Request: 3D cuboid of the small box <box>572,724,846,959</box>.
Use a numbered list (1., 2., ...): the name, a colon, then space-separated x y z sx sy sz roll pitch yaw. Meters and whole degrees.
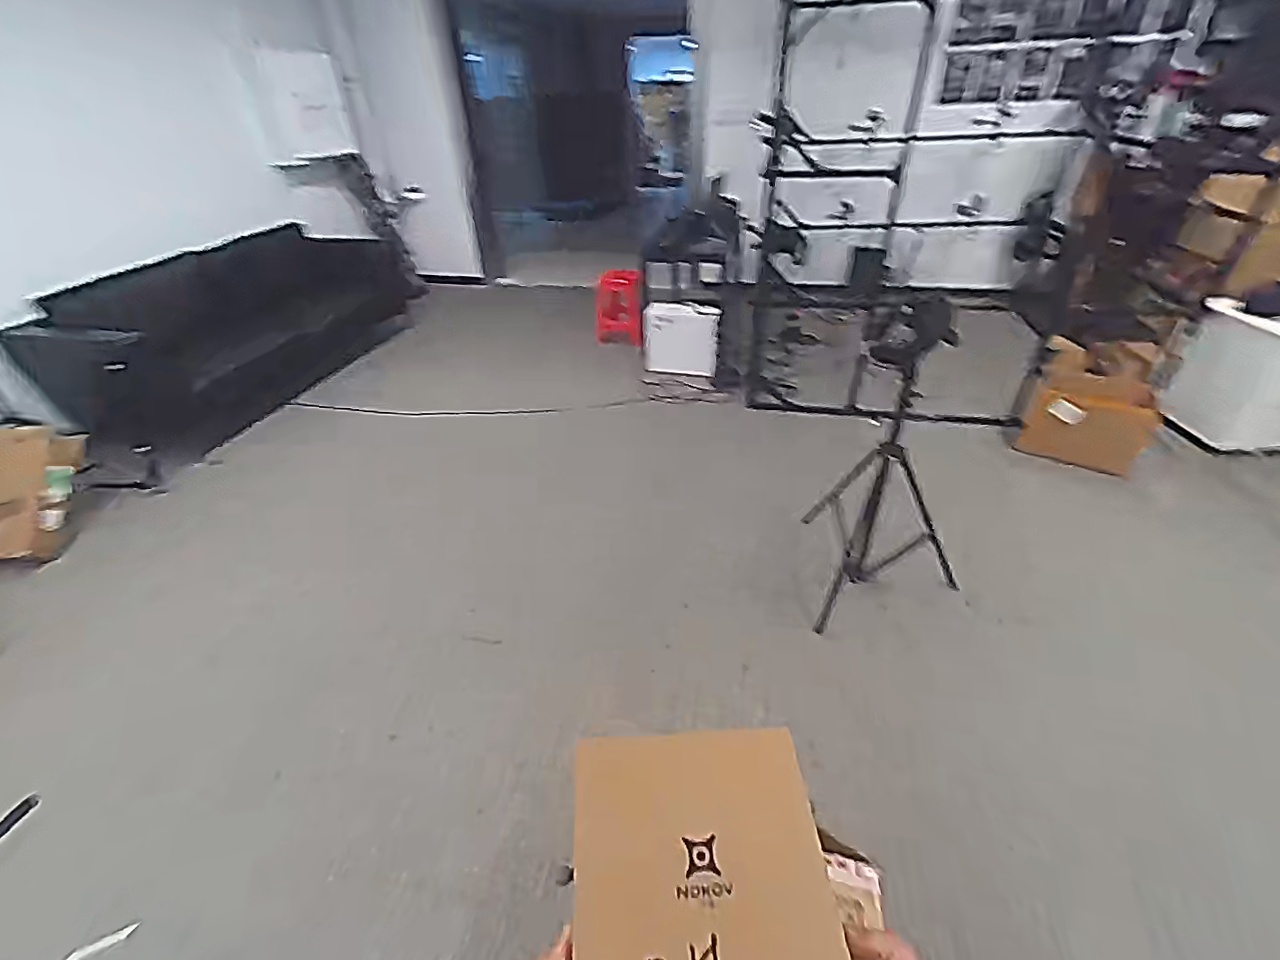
1. small box: 0.034 0.309 0.408 0.168 0.176 0.179 -2 45 -5
